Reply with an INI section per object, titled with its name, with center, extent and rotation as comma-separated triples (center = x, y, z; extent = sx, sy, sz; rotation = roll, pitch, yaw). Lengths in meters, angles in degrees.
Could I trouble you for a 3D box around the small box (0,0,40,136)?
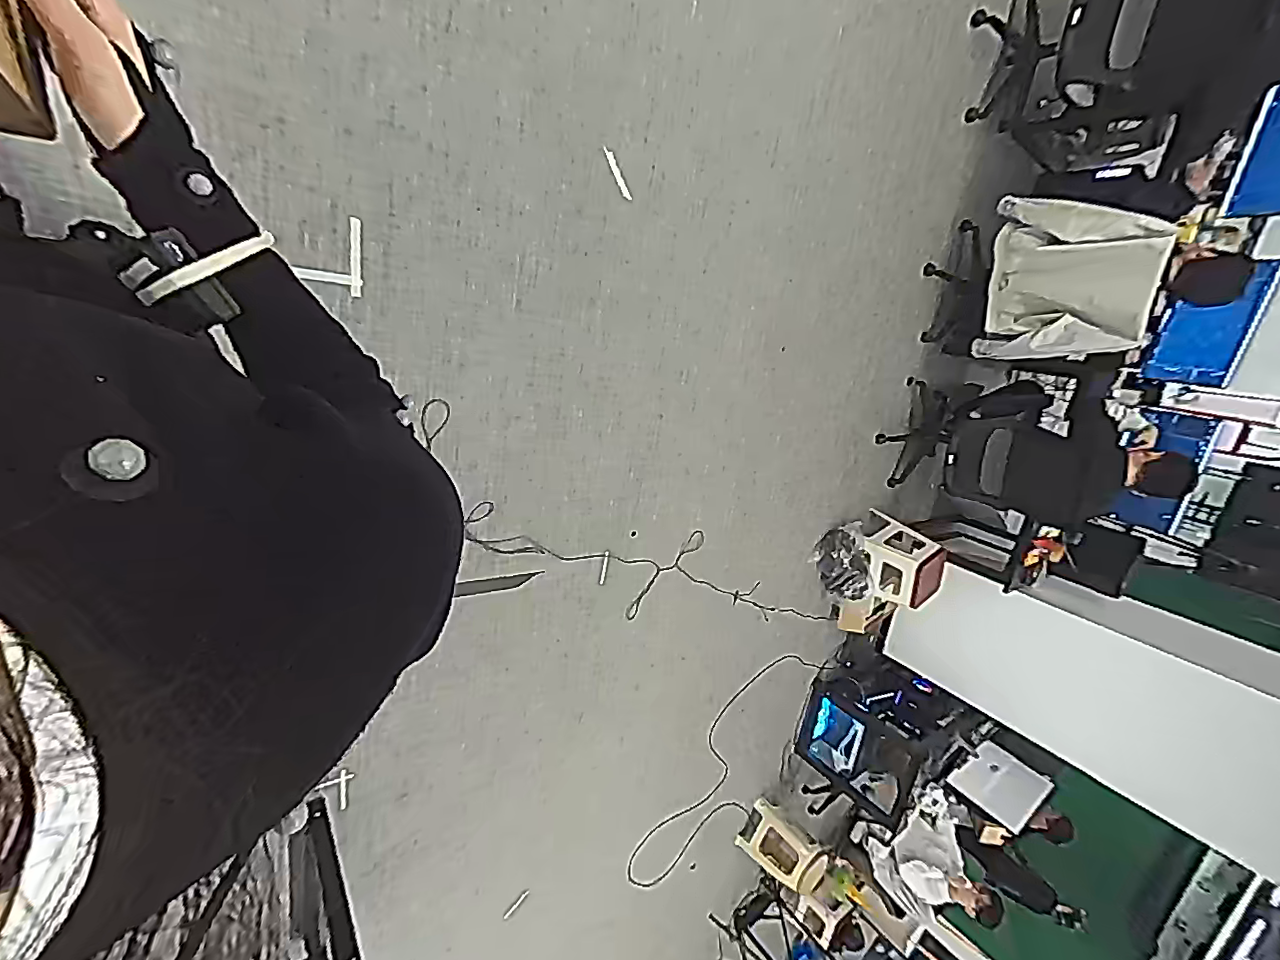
[small box]
center = -0.391, -0.265, 0.217
extent = 0.179, 0.176, 0.168
rotation = -9, 107, -37
